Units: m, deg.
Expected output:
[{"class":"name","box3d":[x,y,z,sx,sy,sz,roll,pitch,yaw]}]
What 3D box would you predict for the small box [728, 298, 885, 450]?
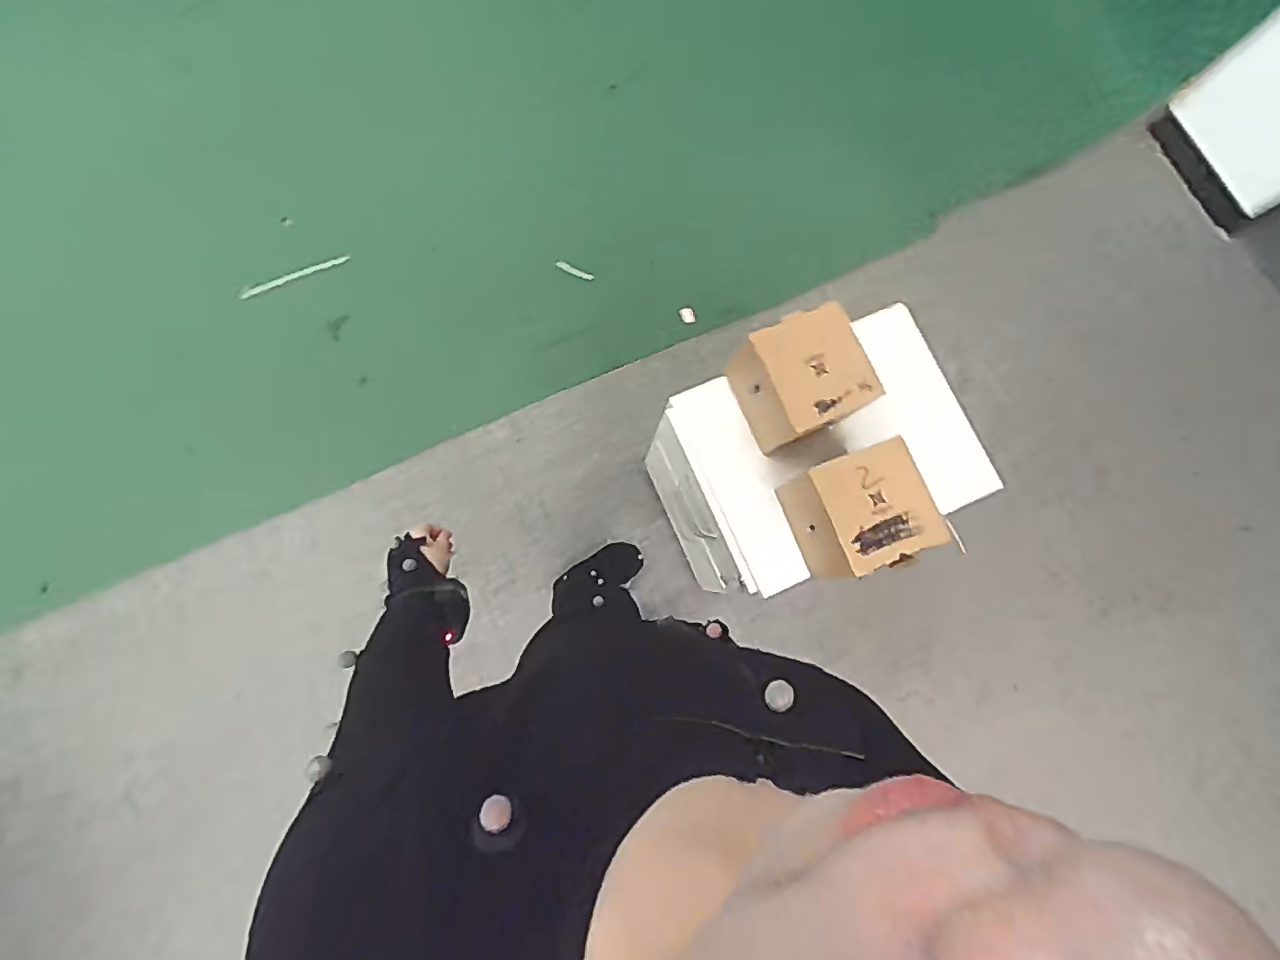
[{"class":"small box","box3d":[0.269,-0.171,0.919,0.168,0.176,0.179,-23,83,-8]}]
